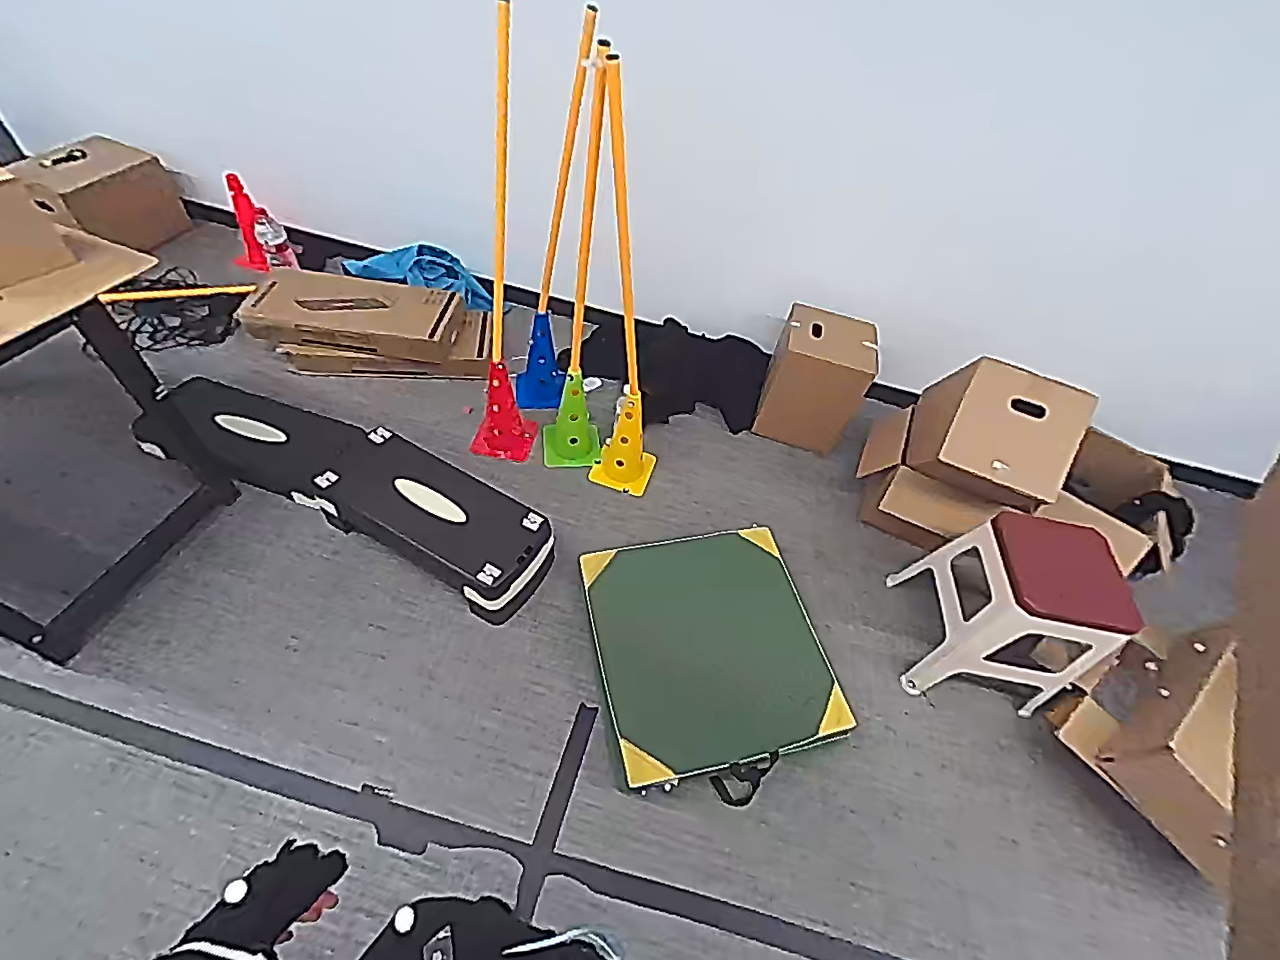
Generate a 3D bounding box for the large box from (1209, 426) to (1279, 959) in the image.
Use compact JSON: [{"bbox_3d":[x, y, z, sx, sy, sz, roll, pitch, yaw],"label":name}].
[{"bbox_3d":[0.430,0.039,0.145,0.320,0.408,0.320,14,53,38],"label":"large box"}]
